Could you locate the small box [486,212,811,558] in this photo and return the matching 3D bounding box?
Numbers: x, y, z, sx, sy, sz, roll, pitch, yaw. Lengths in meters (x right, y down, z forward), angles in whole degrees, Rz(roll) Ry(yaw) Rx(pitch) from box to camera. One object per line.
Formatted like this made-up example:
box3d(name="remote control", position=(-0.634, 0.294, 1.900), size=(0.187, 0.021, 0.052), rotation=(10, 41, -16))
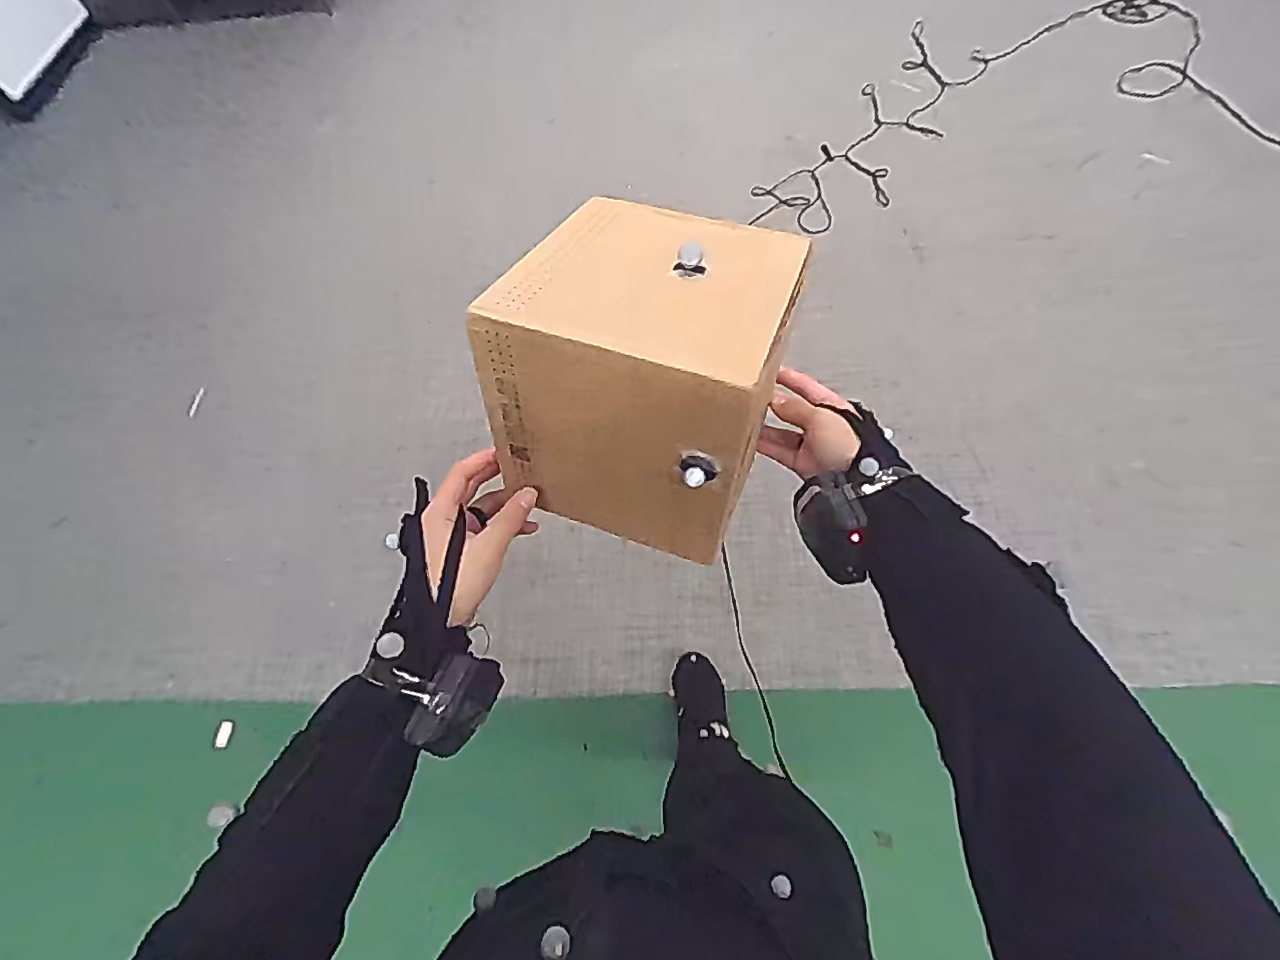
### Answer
box3d(name="small box", position=(0.010, -0.078, 0.406), size=(0.176, 0.168, 0.179), rotation=(18, 50, 13))
